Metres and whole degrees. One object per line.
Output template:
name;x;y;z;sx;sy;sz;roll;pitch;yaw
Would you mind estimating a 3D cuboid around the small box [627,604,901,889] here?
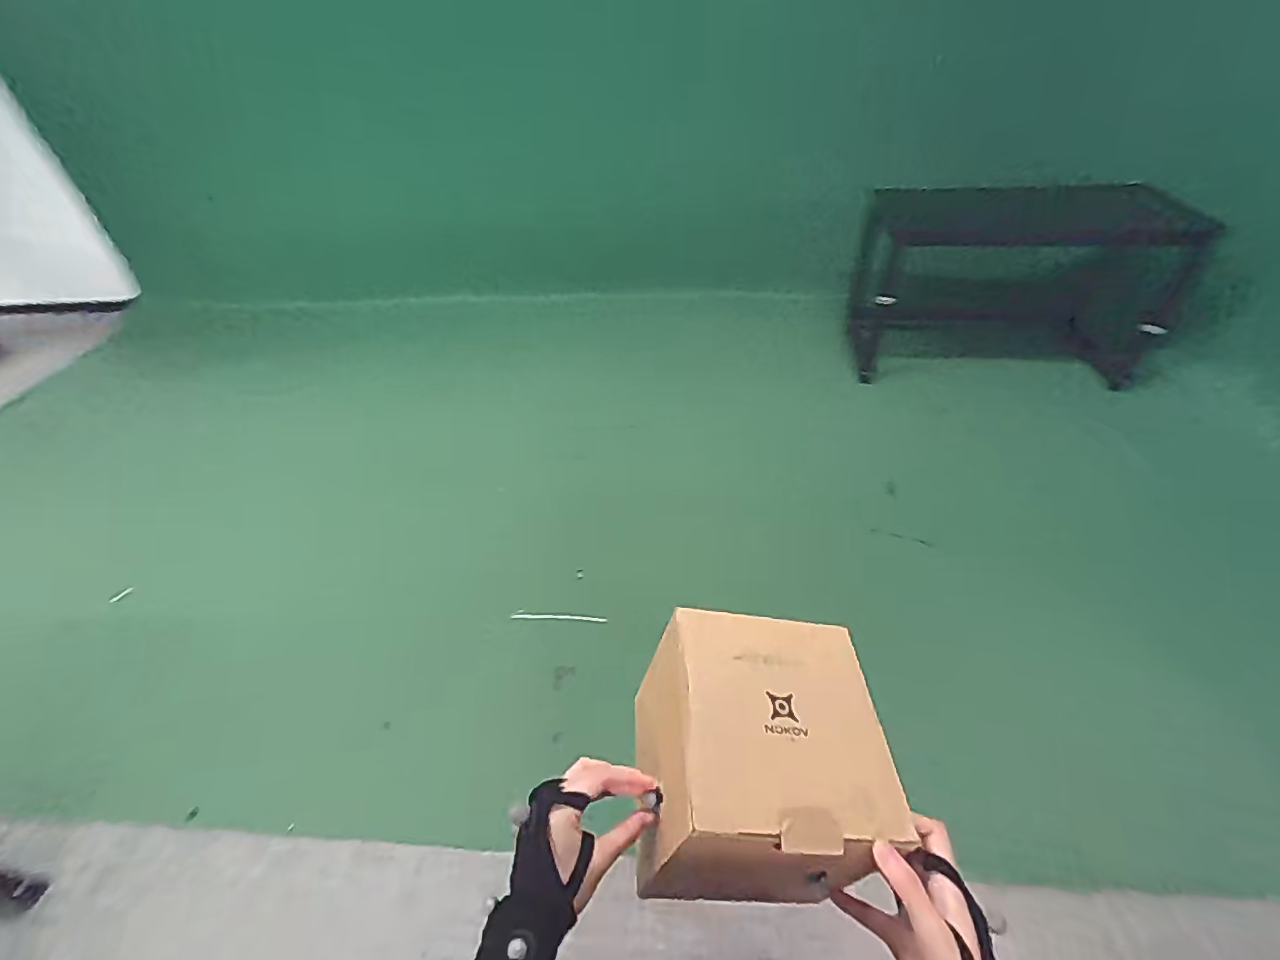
small box;0.086;0.238;0.478;0.168;0.176;0.179;9;39;-10
